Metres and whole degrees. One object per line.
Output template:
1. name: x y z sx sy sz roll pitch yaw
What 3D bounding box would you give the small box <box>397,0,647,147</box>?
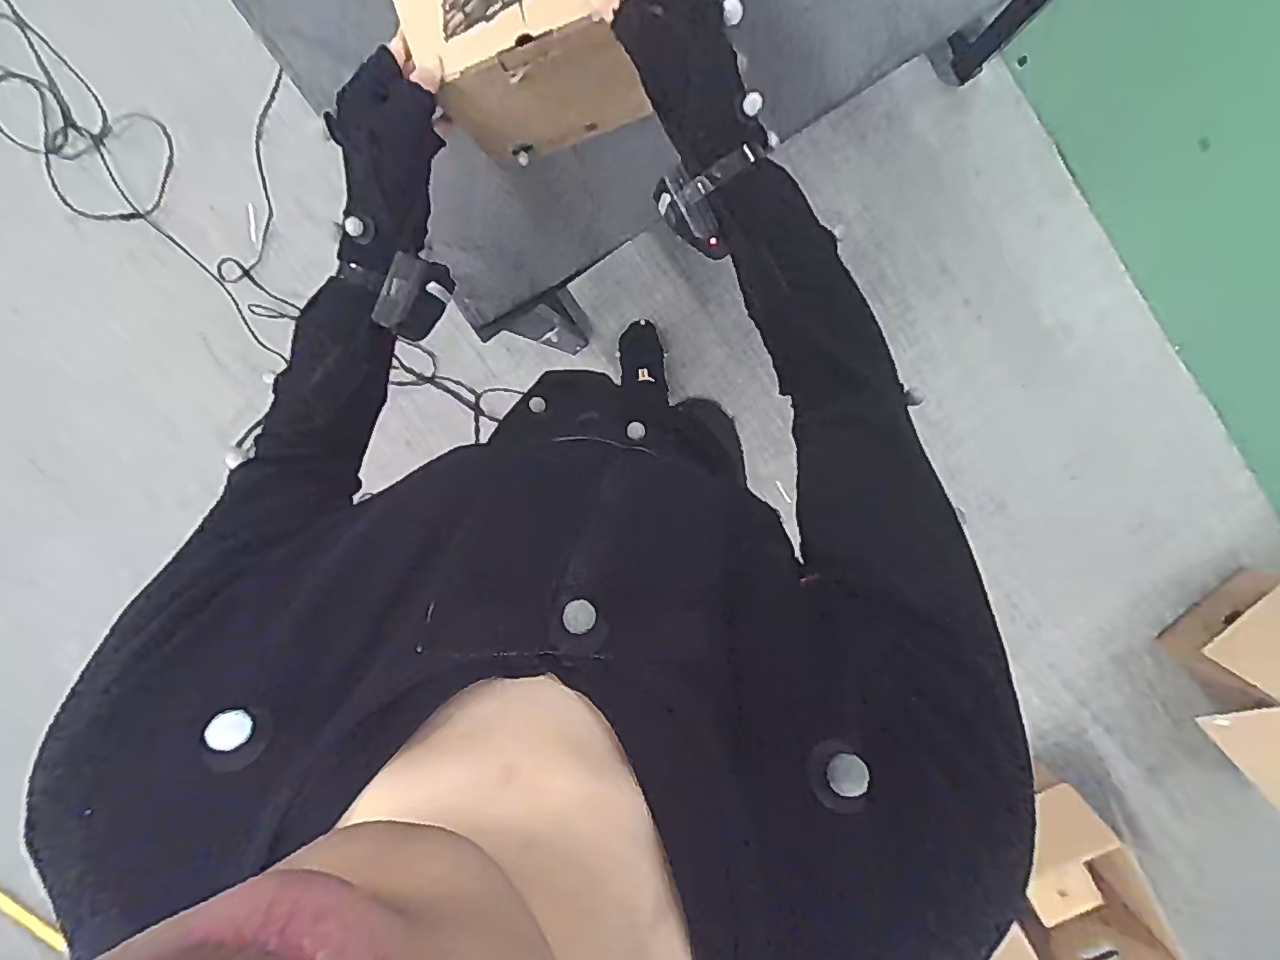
1. small box: -0.099 -0.414 0.452 0.168 0.176 0.179 -16 98 9
